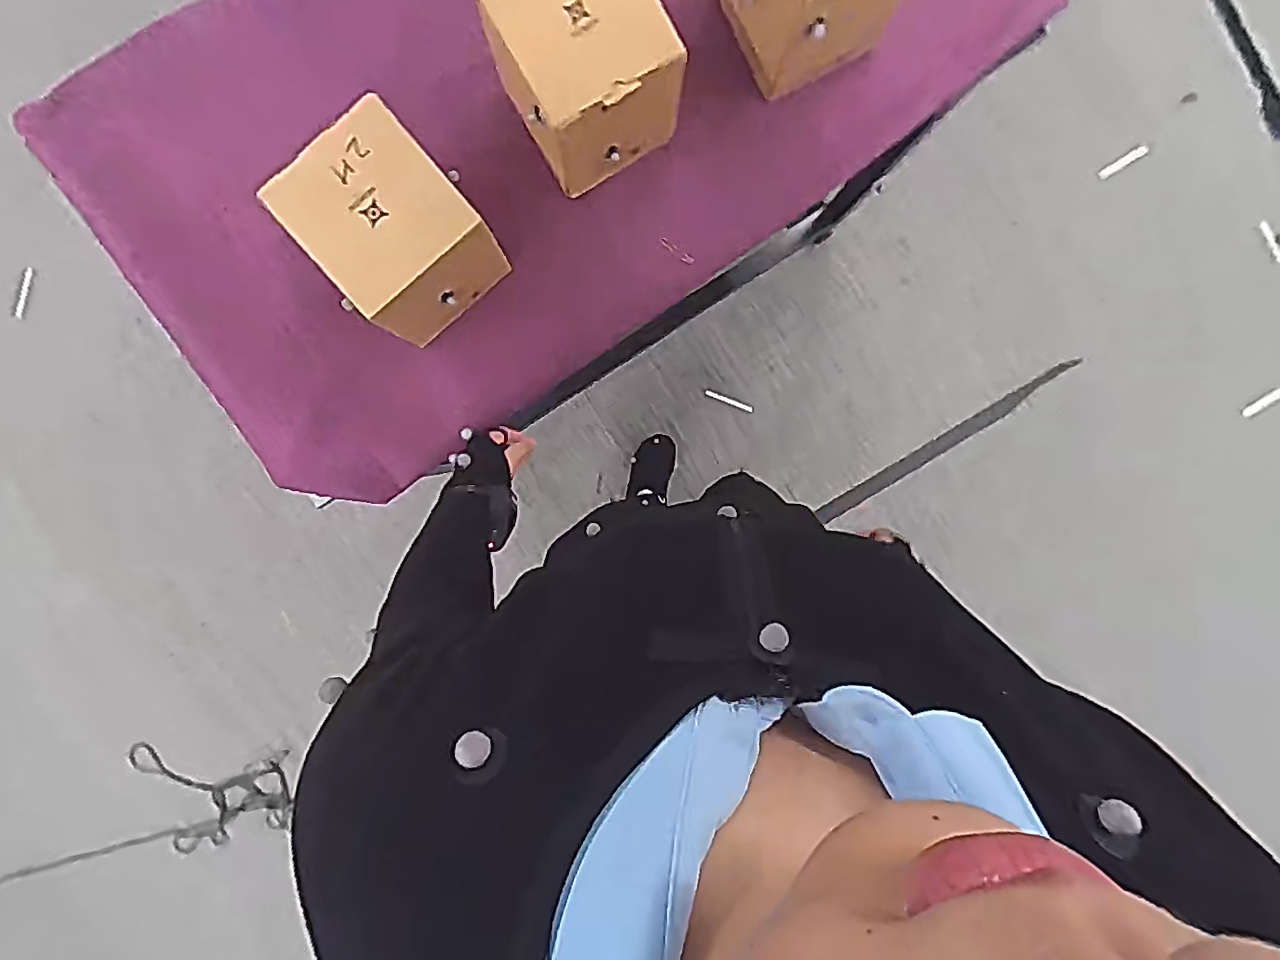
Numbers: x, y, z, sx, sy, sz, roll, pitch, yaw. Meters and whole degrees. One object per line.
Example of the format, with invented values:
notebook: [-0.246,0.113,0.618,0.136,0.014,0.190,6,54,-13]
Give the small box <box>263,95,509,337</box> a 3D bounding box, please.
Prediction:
small box: [-0.283,-0.292,0.651,0.168,0.176,0.179,-40,94,0]

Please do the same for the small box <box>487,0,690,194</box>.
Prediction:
small box: [-0.061,-0.492,0.650,0.168,0.176,0.179,-31,94,0]
